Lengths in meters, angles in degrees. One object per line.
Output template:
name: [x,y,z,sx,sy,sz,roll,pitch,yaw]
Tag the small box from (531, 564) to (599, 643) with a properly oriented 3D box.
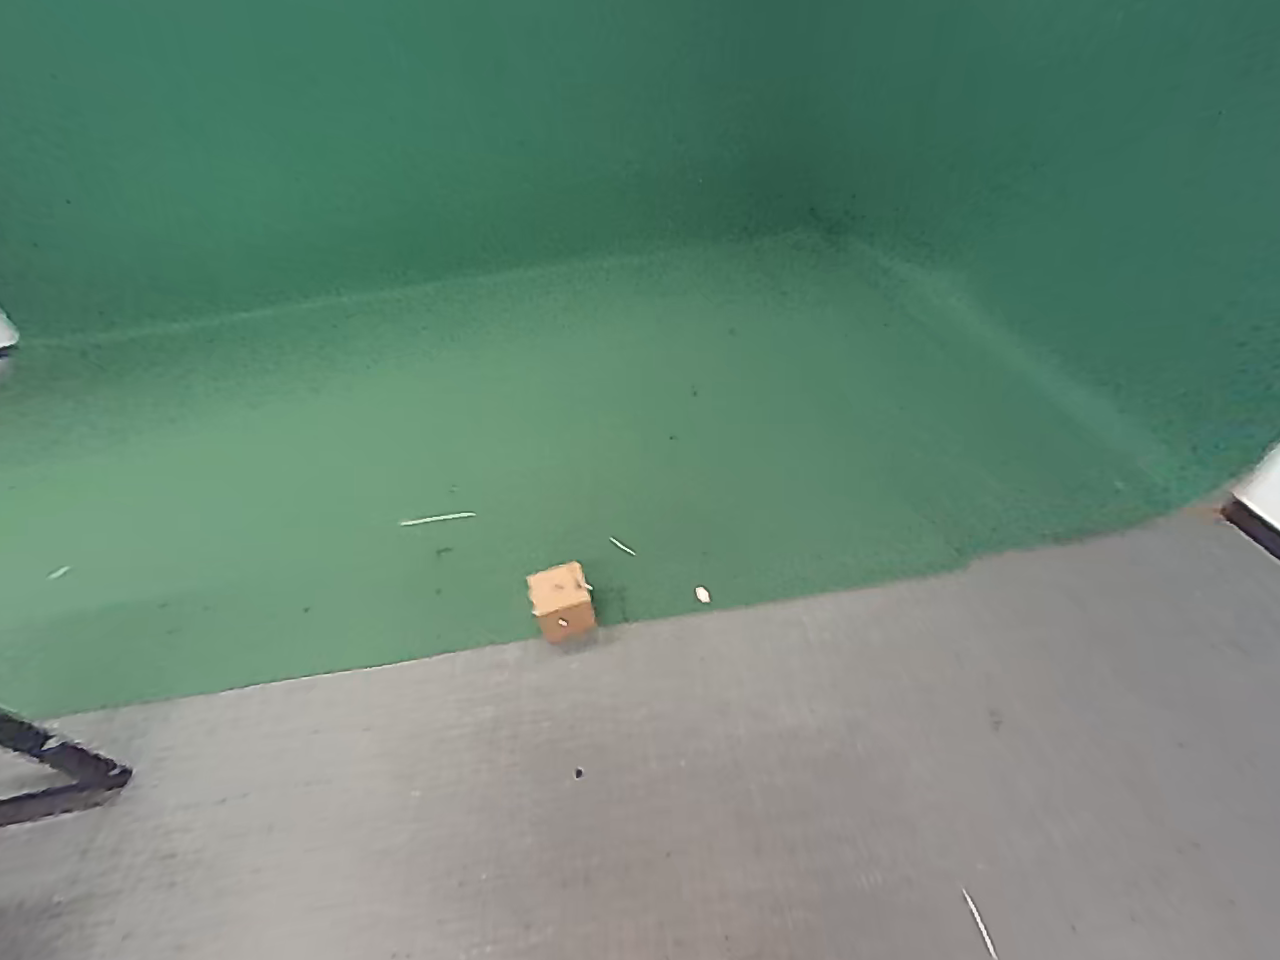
small box: [-0.248,0.417,1.806,0.179,0.176,0.168,-16,43,-8]
